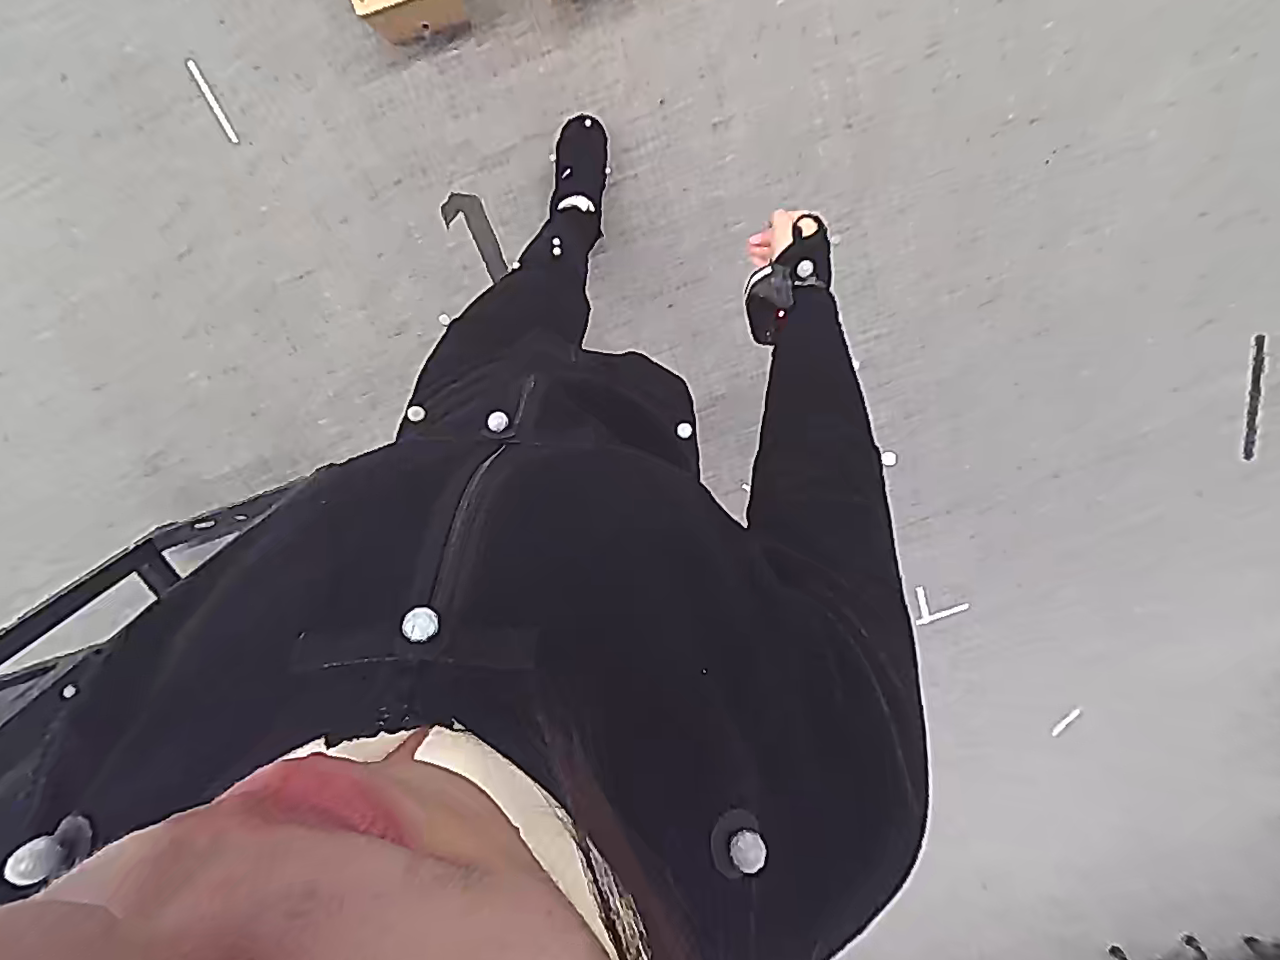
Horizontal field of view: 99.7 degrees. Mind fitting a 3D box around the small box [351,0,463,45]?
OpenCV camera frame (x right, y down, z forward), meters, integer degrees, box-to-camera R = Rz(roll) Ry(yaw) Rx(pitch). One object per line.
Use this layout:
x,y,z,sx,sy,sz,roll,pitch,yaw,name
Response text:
-0.438,-0.936,0.985,0.179,0.176,0.168,-15,114,2,small box
